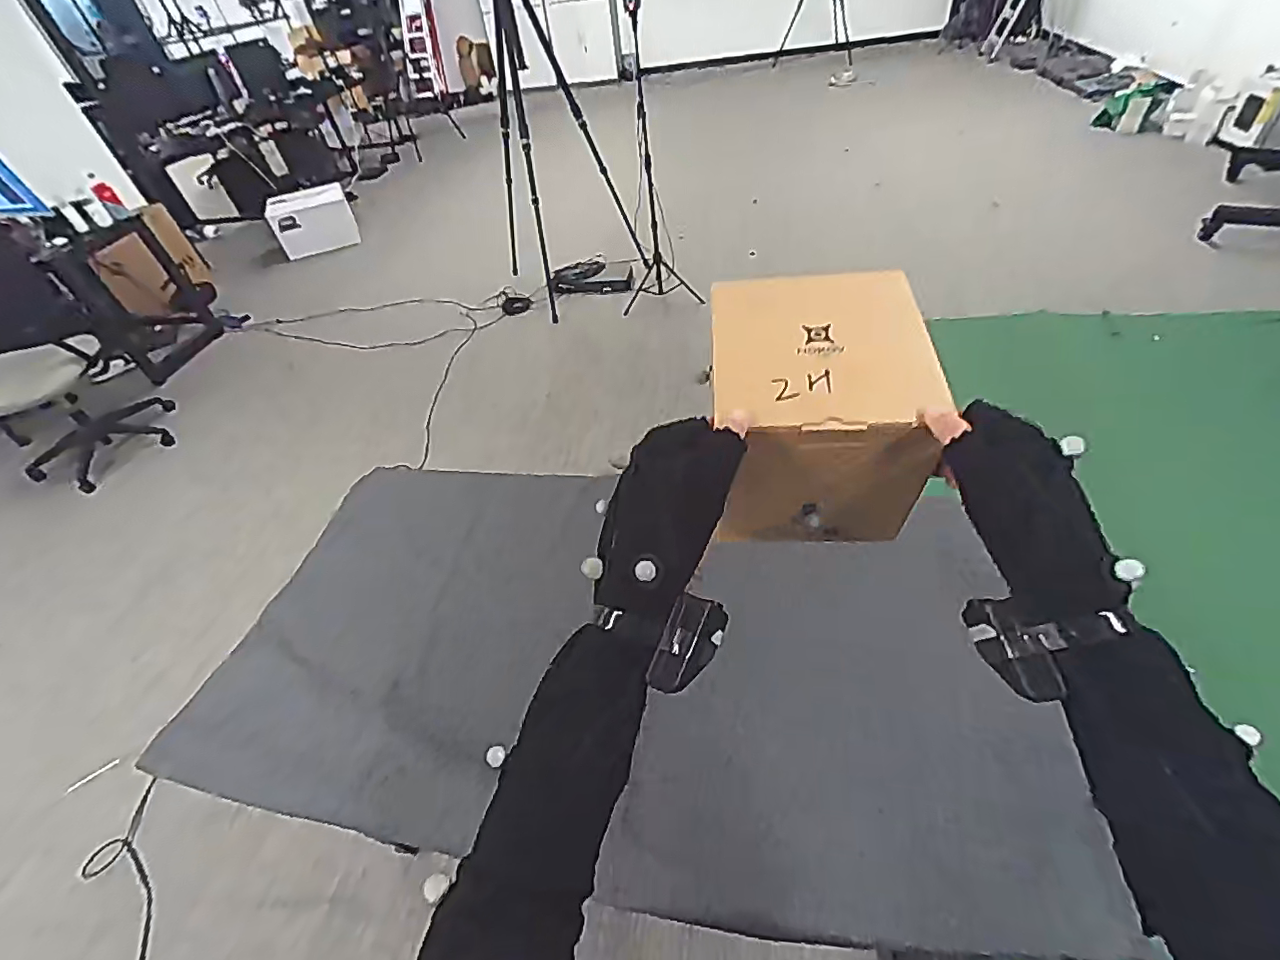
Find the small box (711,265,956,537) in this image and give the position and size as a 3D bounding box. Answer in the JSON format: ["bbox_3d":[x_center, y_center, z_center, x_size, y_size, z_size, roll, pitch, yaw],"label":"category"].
[{"bbox_3d":[0.148,-0.067,0.487,0.168,0.176,0.179,-1,55,8],"label":"small box"}]
